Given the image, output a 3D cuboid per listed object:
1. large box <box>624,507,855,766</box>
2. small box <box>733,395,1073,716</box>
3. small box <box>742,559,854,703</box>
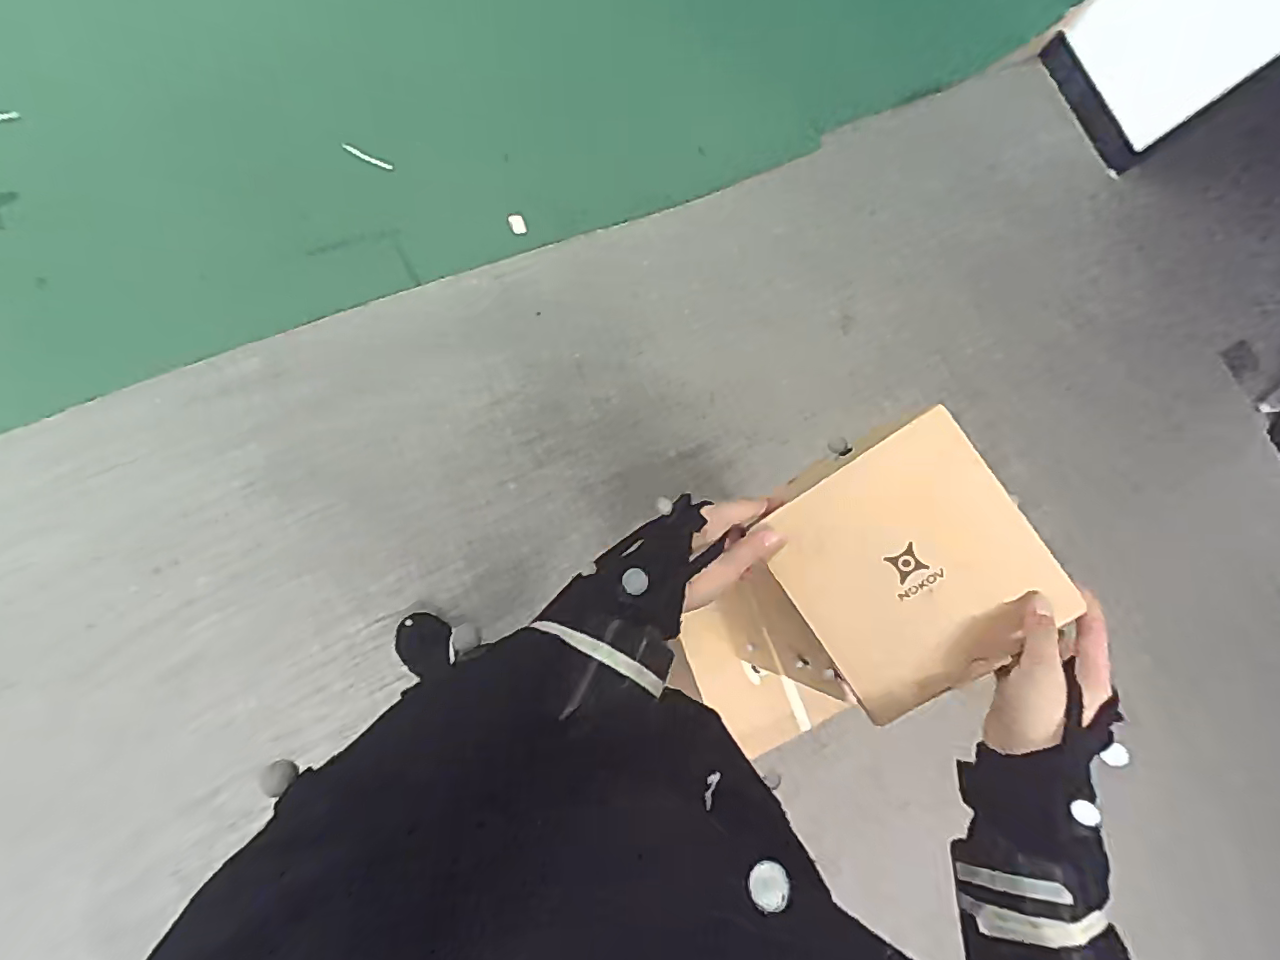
[{"bbox_3d":[0.196,0.277,1.112,0.320,0.320,0.408,-20,85,-12],"label":"large box"},{"bbox_3d":[0.192,0.052,0.459,0.168,0.176,0.179,-36,88,10],"label":"small box"},{"bbox_3d":[0.265,0.164,0.725,0.168,0.176,0.179,-22,85,-14],"label":"small box"}]
